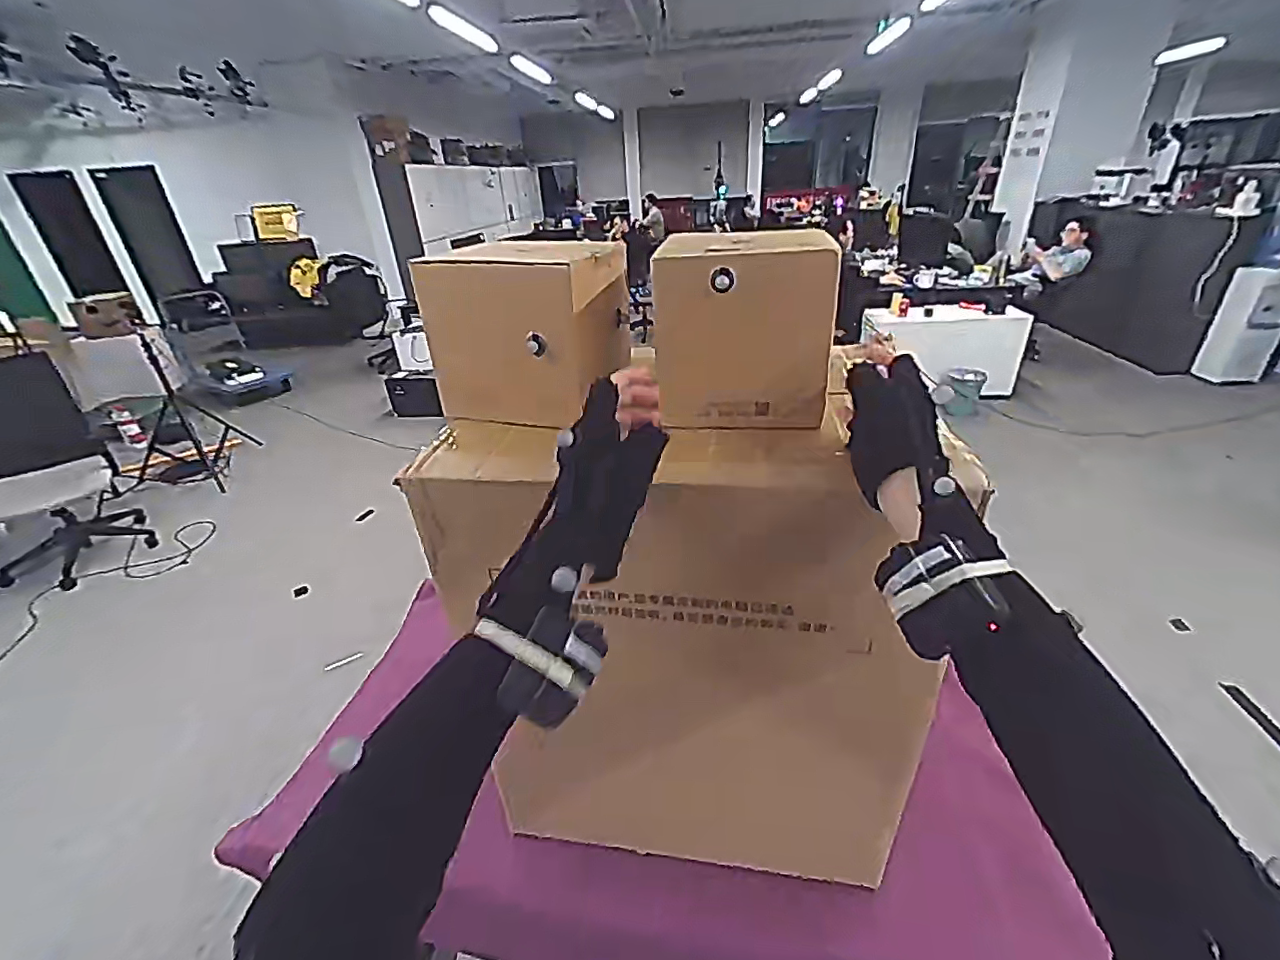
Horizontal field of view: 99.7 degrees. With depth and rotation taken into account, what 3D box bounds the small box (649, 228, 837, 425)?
[{"bbox_3d":[0.106,-0.168,0.579,0.168,0.176,0.179,1,29,10],"label":"small box"}]
